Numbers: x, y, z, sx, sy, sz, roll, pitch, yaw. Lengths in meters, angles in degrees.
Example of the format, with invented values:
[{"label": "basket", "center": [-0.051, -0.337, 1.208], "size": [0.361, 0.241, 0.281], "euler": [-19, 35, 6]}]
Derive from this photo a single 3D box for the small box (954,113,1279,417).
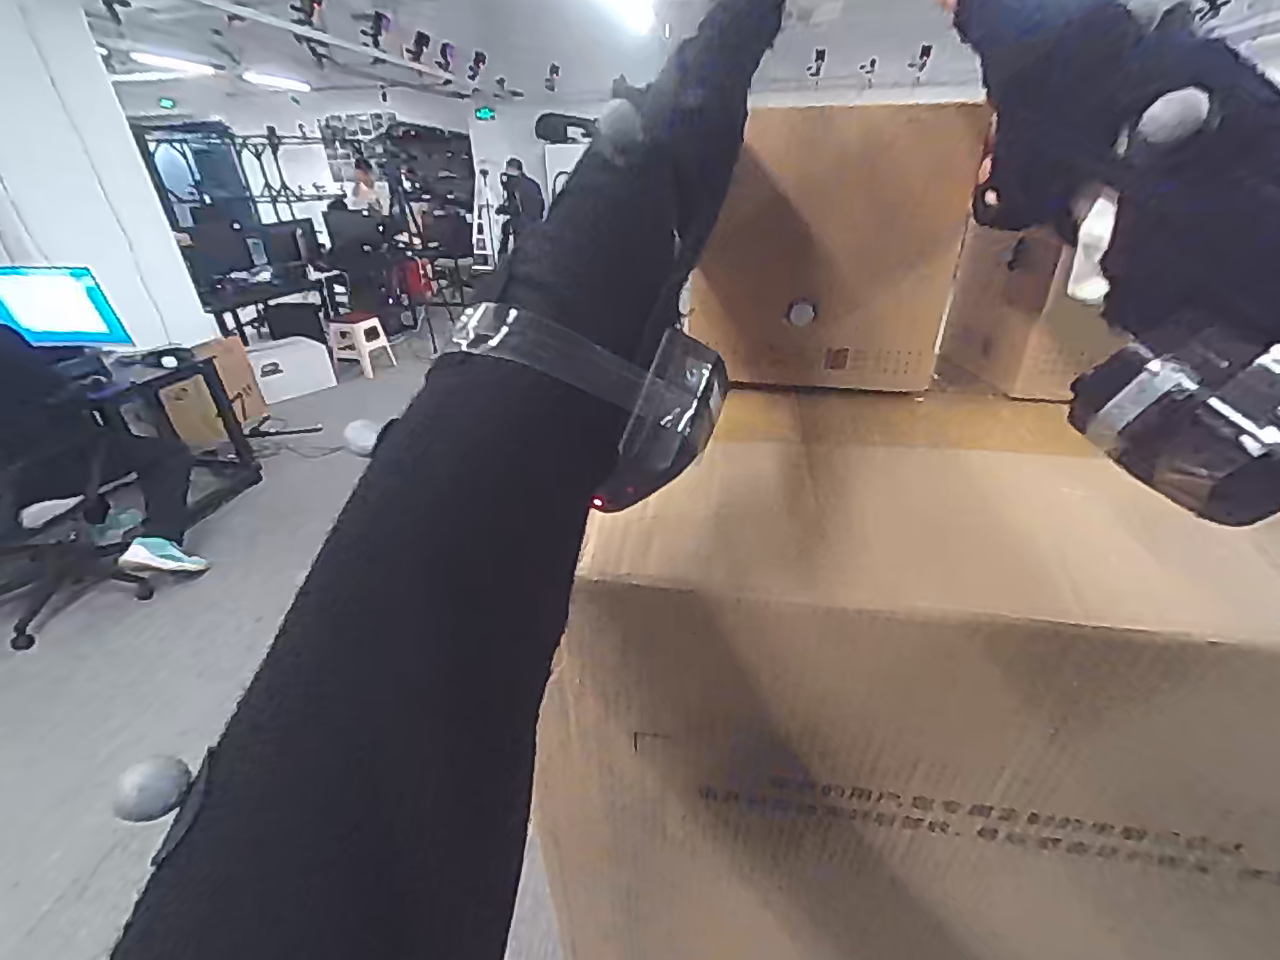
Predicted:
[{"label": "small box", "center": [0.355, -0.150, 0.395], "size": [0.179, 0.176, 0.168], "euler": [6, 26, 9]}]
